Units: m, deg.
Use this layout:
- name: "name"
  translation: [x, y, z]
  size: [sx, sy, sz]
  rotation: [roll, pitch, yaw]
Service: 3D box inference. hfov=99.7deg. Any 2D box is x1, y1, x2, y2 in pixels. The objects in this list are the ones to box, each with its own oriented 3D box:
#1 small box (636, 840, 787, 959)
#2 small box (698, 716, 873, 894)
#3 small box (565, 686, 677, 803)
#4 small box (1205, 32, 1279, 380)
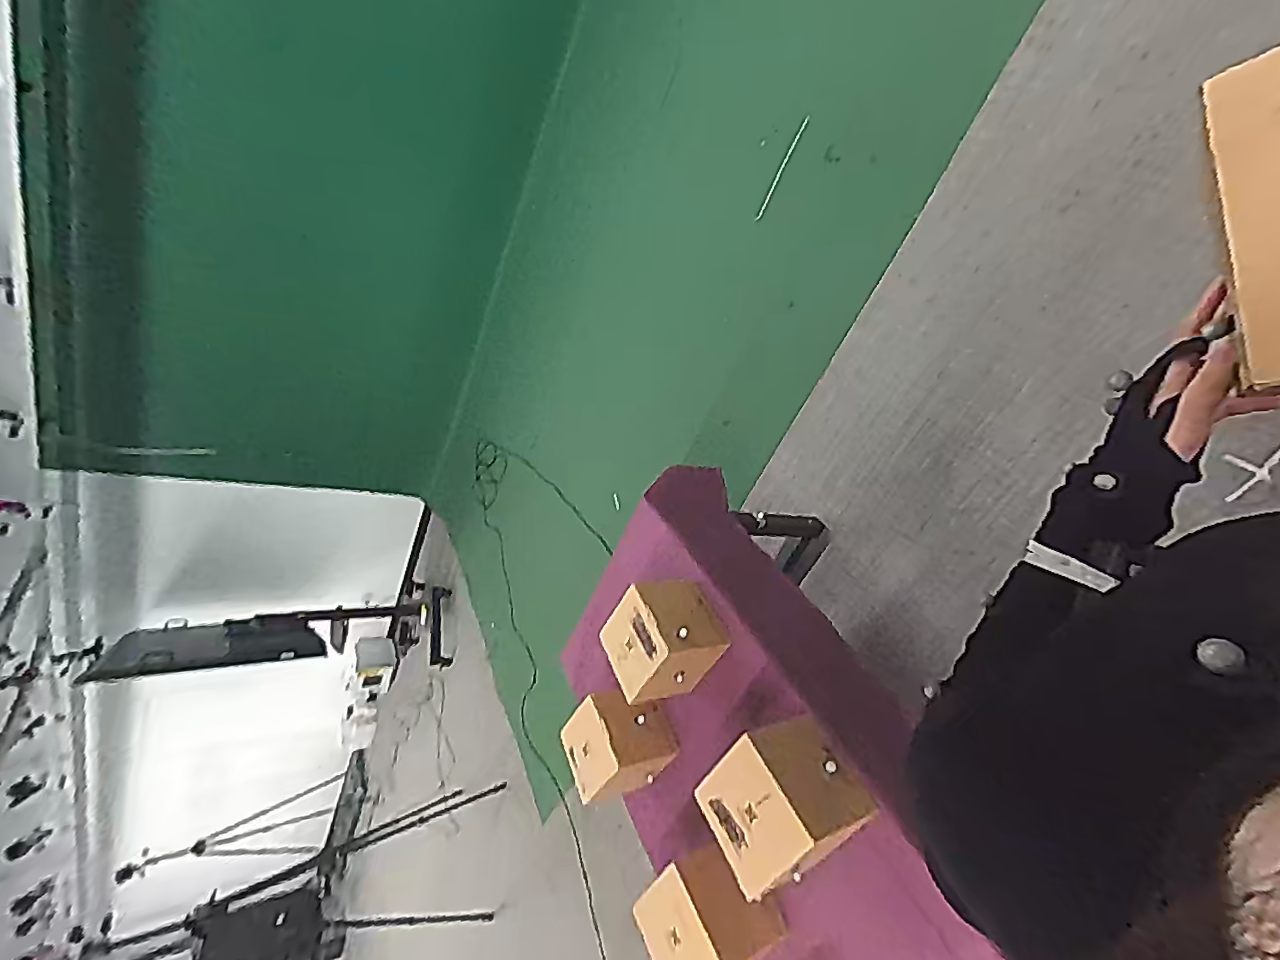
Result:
- name: "small box"
  translation: [0.126, 0.778, 0.963]
  size: [0.168, 0.176, 0.179]
  rotation: [53, 125, 42]
- name: "small box"
  translation: [0.230, 0.508, 0.863]
  size: [0.168, 0.176, 0.179]
  rotation: [54, 126, 42]
- name: "small box"
  translation: [-0.040, 0.585, 1.213]
  size: [0.179, 0.176, 0.168]
  rotation: [-57, 43, 29]
- name: "small box"
  translation: [0.440, -0.161, 0.299]
  size: [0.168, 0.176, 0.179]
  rotation: [-9, 89, 47]
